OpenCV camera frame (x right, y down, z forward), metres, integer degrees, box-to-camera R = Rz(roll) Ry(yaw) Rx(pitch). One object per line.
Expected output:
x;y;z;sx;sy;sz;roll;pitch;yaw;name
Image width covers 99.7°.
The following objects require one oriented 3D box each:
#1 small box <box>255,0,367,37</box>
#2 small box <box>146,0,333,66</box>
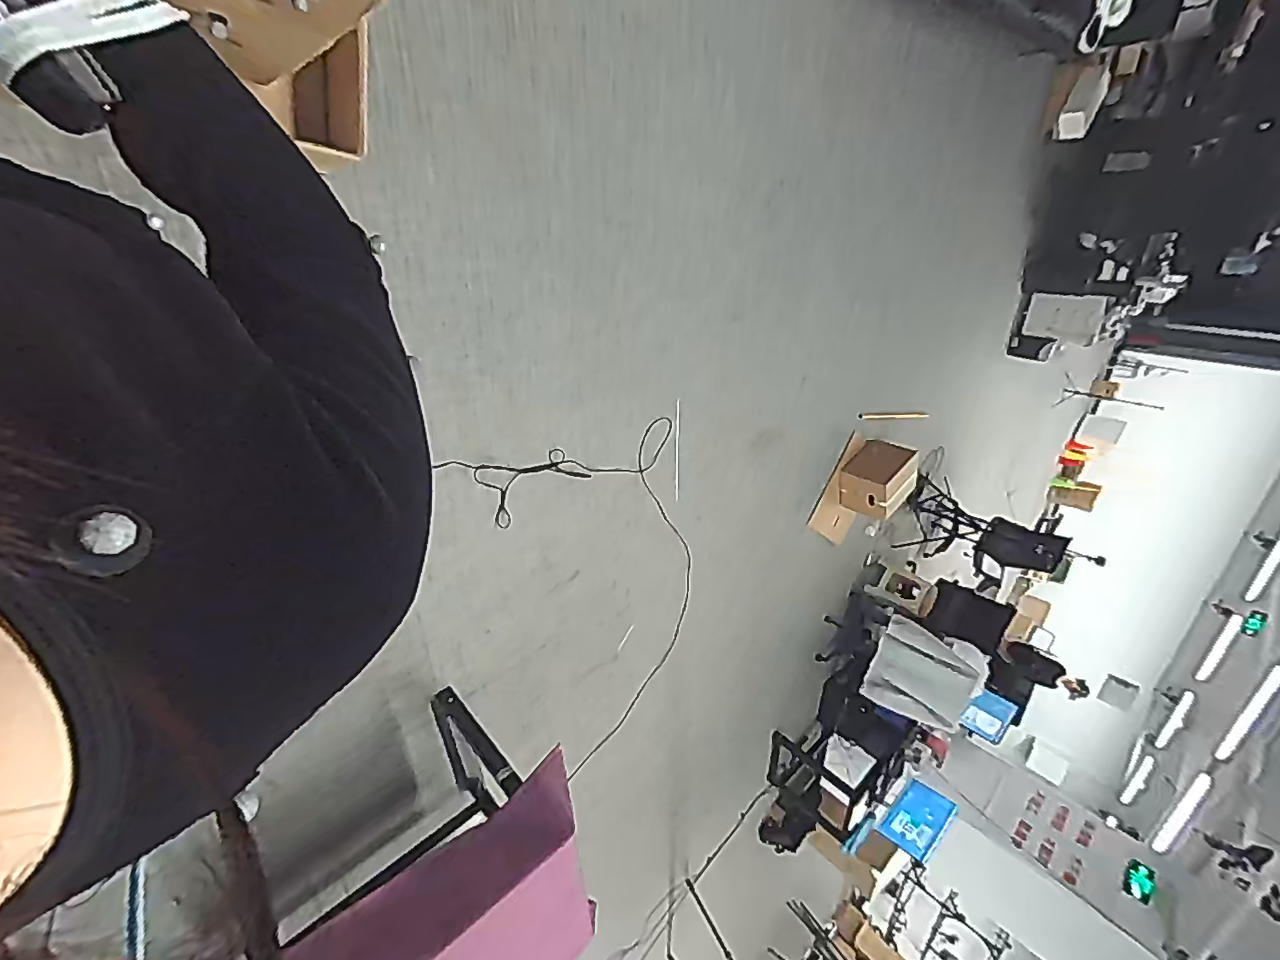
-0.290;-0.485;0.406;0.168;0.176;0.179;1;108;-45;small box
-0.397;-0.540;0.517;0.168;0.176;0.179;-1;111;-45;small box
